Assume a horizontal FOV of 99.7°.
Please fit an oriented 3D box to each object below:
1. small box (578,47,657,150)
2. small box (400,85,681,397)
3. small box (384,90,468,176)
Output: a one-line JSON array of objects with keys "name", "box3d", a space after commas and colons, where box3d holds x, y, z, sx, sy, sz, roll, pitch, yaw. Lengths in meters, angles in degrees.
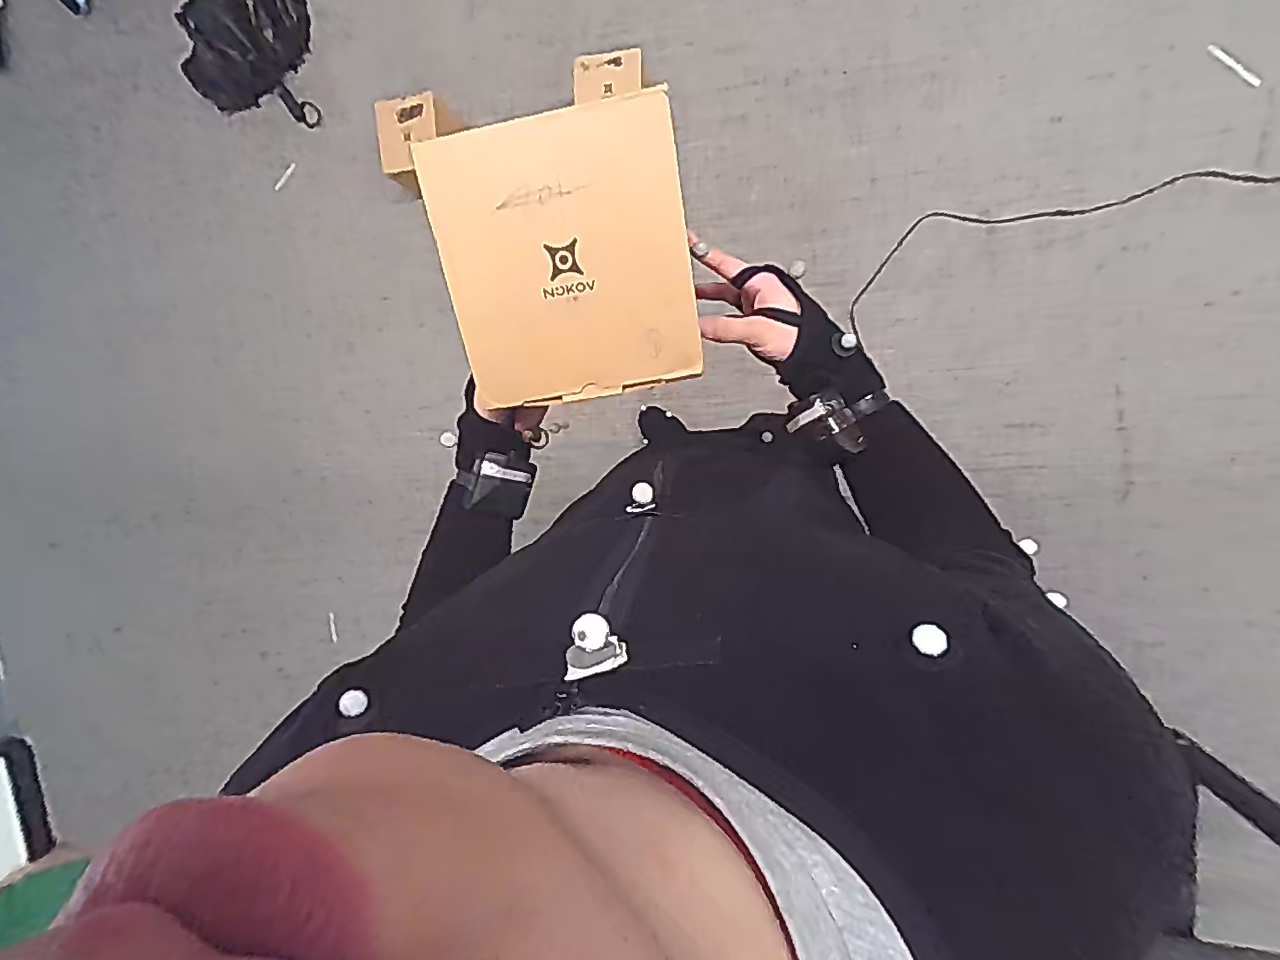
[{"name": "small box", "box3d": [-0.051, -0.941, 1.367, 0.168, 0.176, 0.179, 1, 99, 11]}, {"name": "small box", "box3d": [-0.058, -0.181, 0.446, 0.168, 0.176, 0.179, -9, 109, 7]}, {"name": "small box", "box3d": [-0.564, -0.912, 1.471, 0.168, 0.176, 0.179, -2, 99, 12]}]
